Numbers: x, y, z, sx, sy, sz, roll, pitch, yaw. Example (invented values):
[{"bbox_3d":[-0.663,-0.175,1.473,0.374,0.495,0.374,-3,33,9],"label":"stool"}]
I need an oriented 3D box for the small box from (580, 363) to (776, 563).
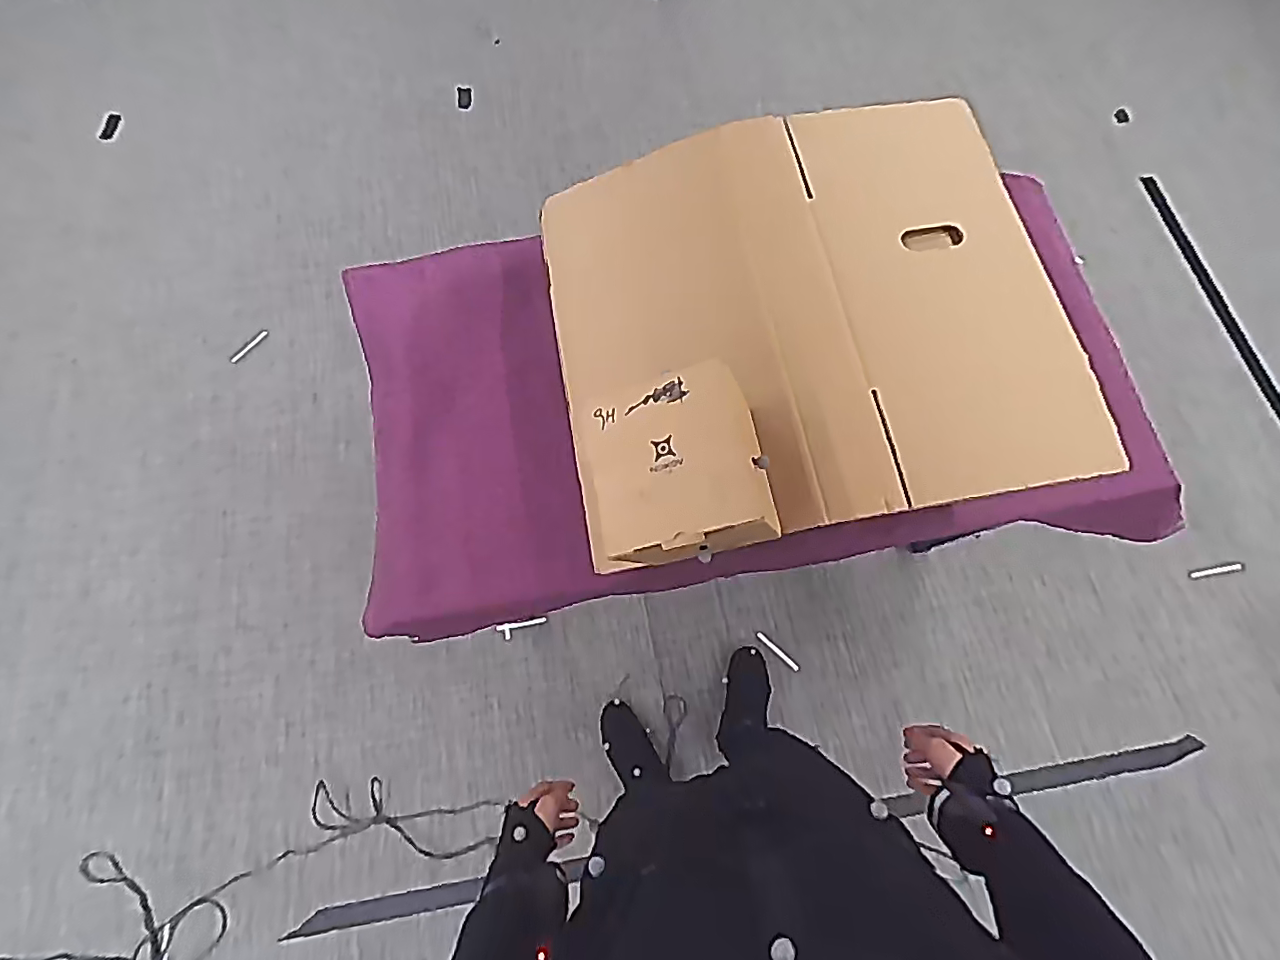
[{"bbox_3d":[0.052,-0.005,0.625,0.168,0.176,0.179,-16,75,17],"label":"small box"}]
